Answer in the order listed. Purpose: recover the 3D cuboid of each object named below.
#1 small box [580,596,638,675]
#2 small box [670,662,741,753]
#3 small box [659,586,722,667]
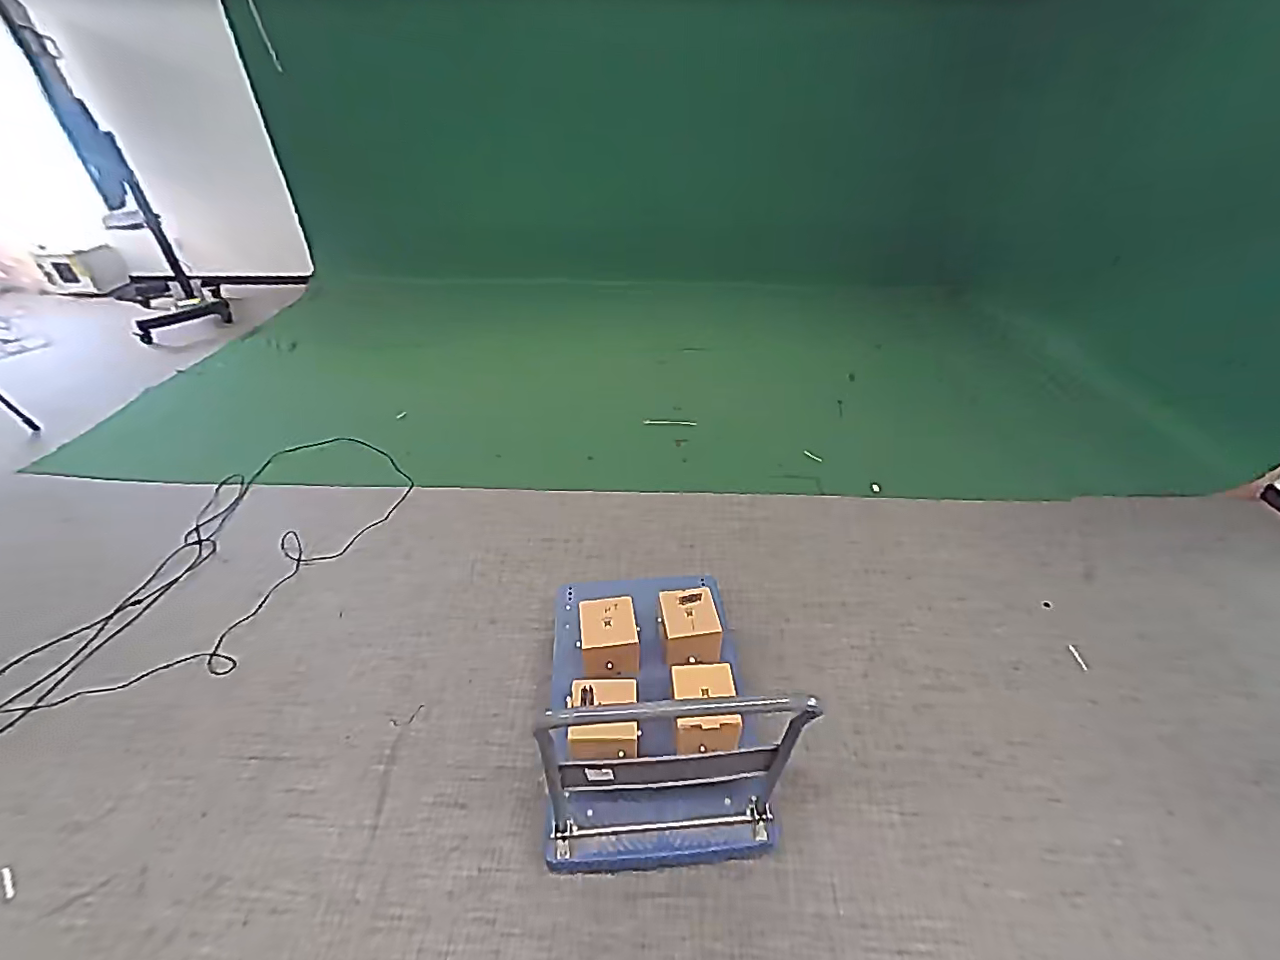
[{"bbox_3d":[-0.096,0.489,1.688,0.168,0.176,0.179,-4,38,-7],"label":"small box"},{"bbox_3d":[0.176,0.633,1.506,0.168,0.176,0.179,-2,39,-3],"label":"small box"},{"bbox_3d":[0.153,0.465,1.717,0.168,0.176,0.179,-6,39,-6],"label":"small box"}]
